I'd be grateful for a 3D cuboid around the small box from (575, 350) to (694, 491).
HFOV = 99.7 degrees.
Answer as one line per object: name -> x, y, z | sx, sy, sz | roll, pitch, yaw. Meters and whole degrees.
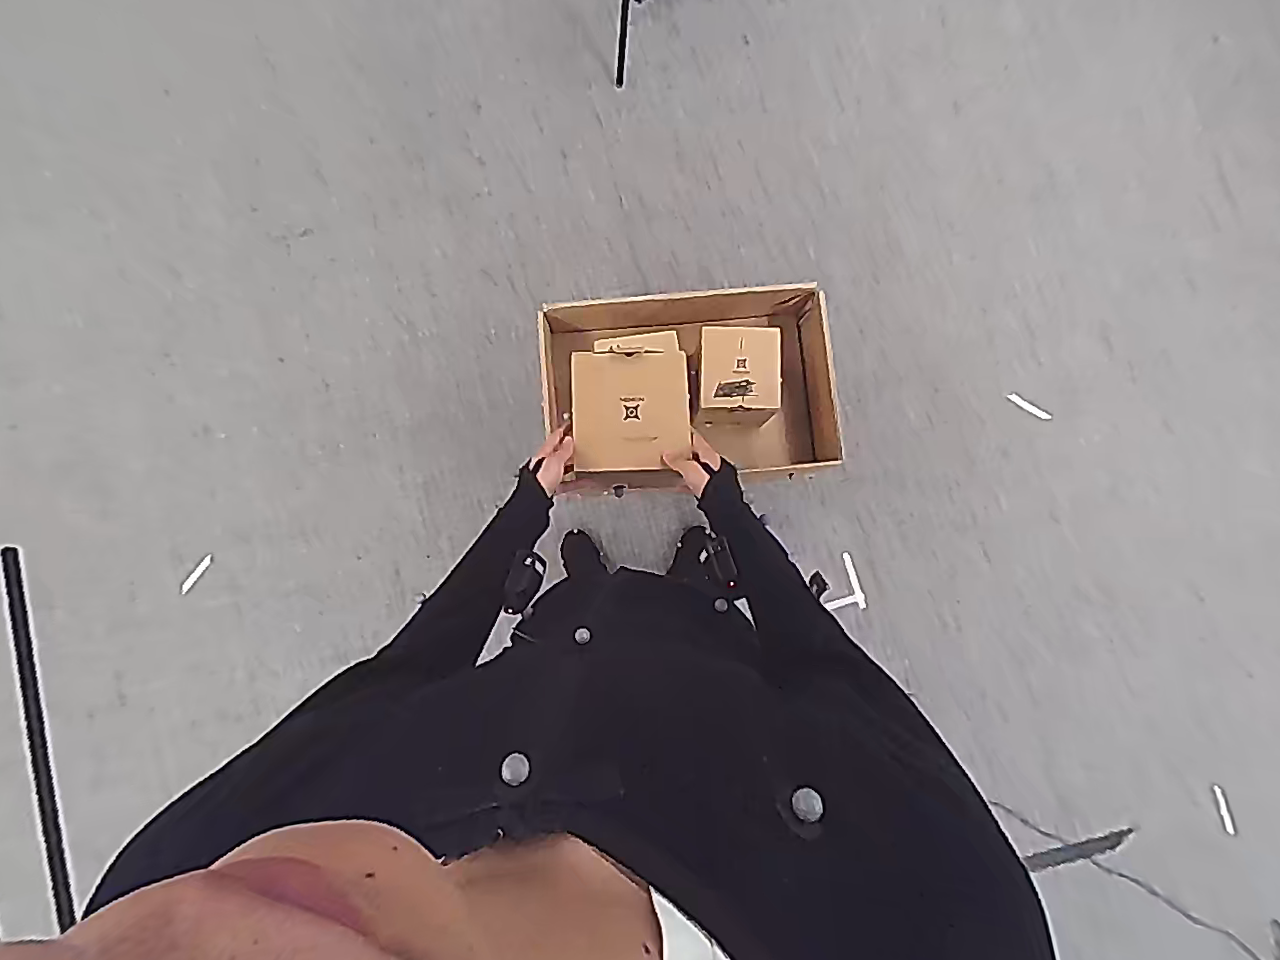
small box -> -0.016, -0.084, 0.829 | 0.168, 0.176, 0.179 | -2, 80, -4
